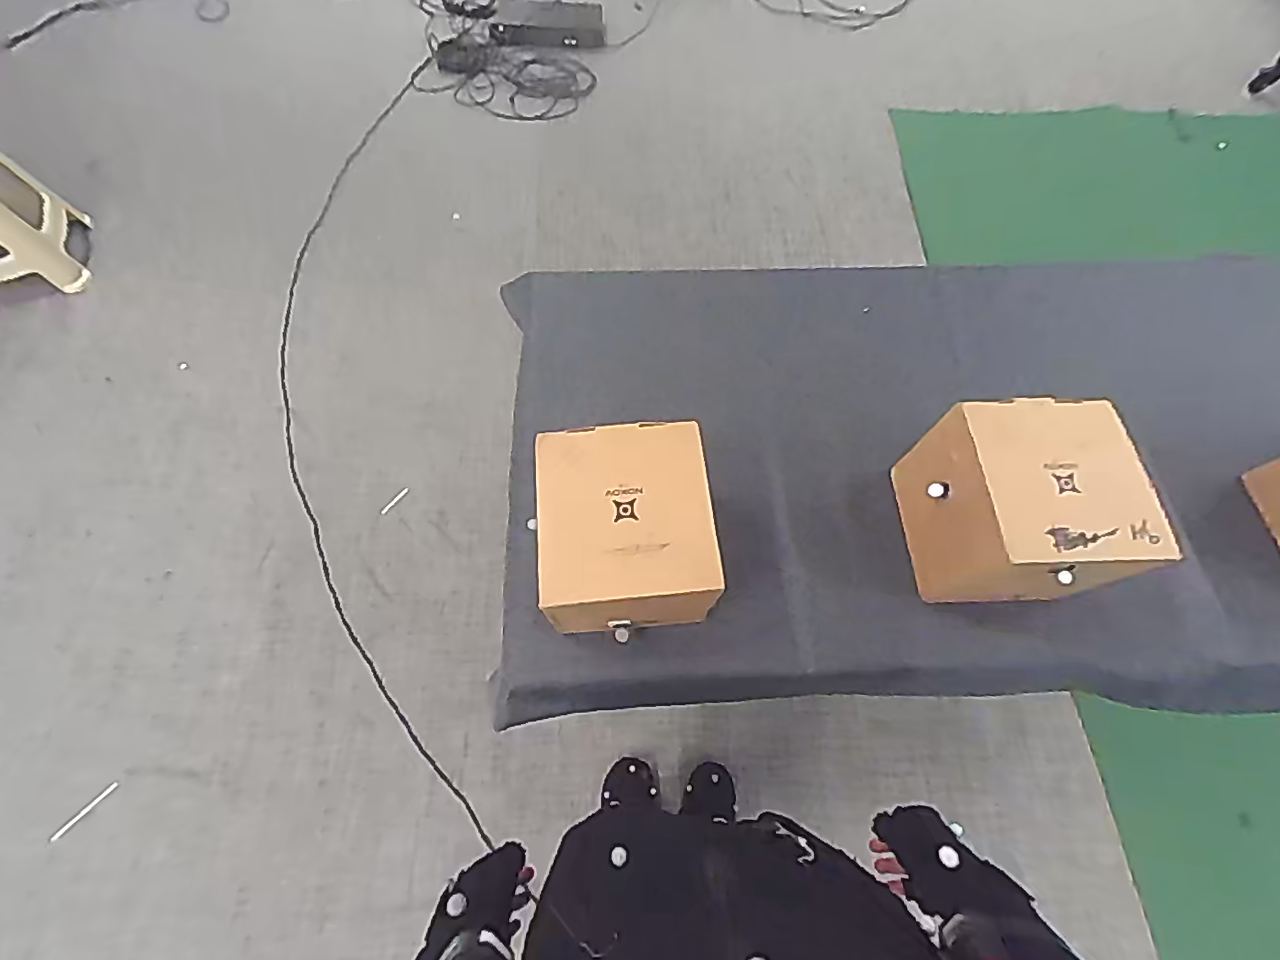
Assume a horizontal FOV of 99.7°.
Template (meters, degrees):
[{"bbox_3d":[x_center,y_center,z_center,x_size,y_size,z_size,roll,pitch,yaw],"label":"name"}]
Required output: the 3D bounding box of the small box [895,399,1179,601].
[{"bbox_3d":[0.412,0.028,0.603,0.168,0.176,0.179,-1,65,-2],"label":"small box"}]

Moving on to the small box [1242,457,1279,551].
[{"bbox_3d":[0.872,0.035,0.608,0.168,0.176,0.179,-1,64,-1],"label":"small box"}]

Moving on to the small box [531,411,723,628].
[{"bbox_3d":[-0.015,0.048,0.562,0.168,0.176,0.179,-4,66,-1],"label":"small box"}]
